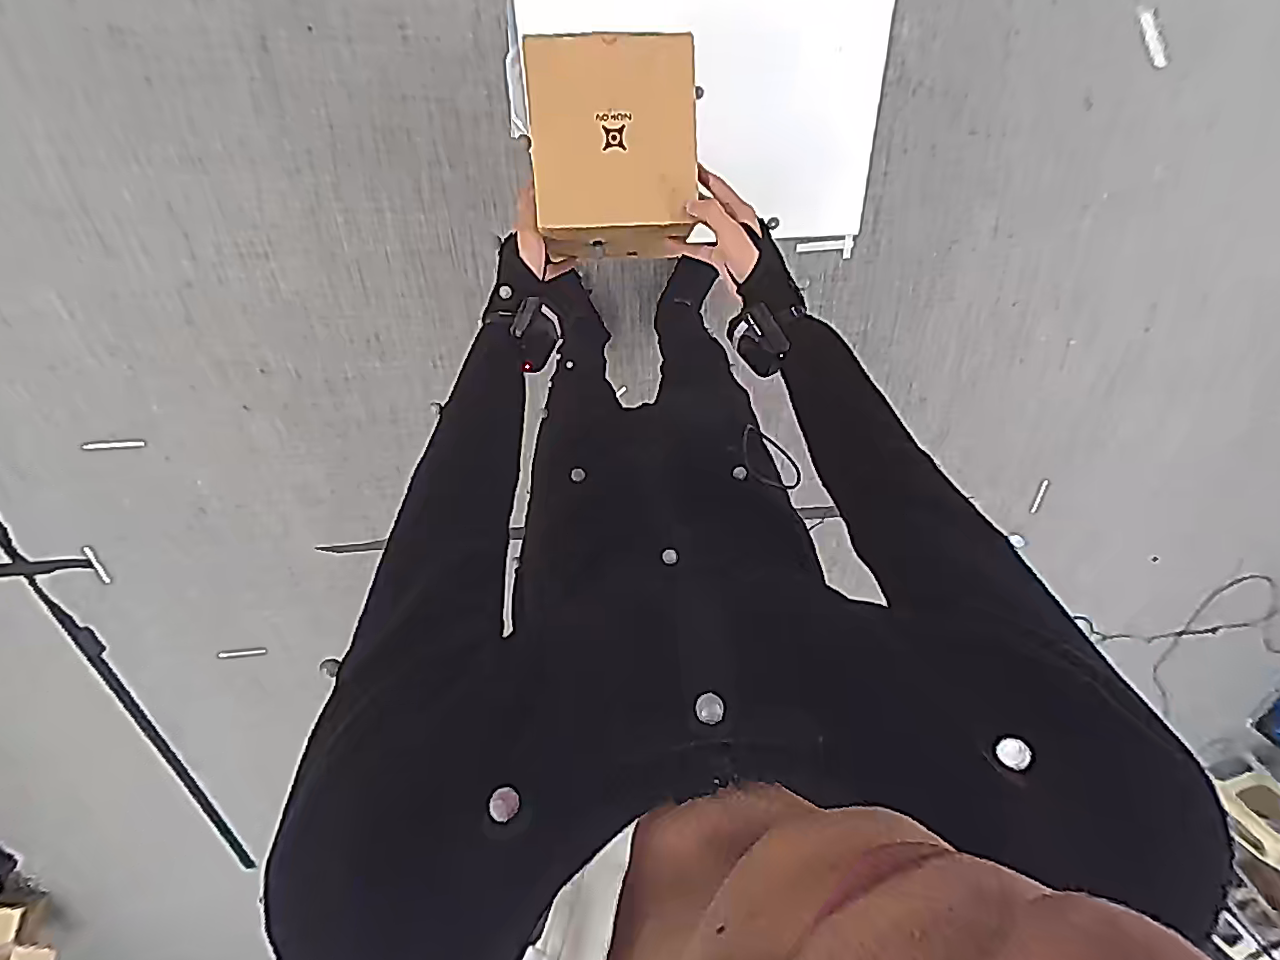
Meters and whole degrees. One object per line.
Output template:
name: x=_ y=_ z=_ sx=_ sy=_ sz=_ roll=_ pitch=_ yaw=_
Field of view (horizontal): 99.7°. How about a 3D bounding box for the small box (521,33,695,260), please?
small box: x=-0.032 y=-0.354 z=0.609 sx=0.168 sy=0.176 sz=0.179 roll=-4 pitch=100 yaw=-3
